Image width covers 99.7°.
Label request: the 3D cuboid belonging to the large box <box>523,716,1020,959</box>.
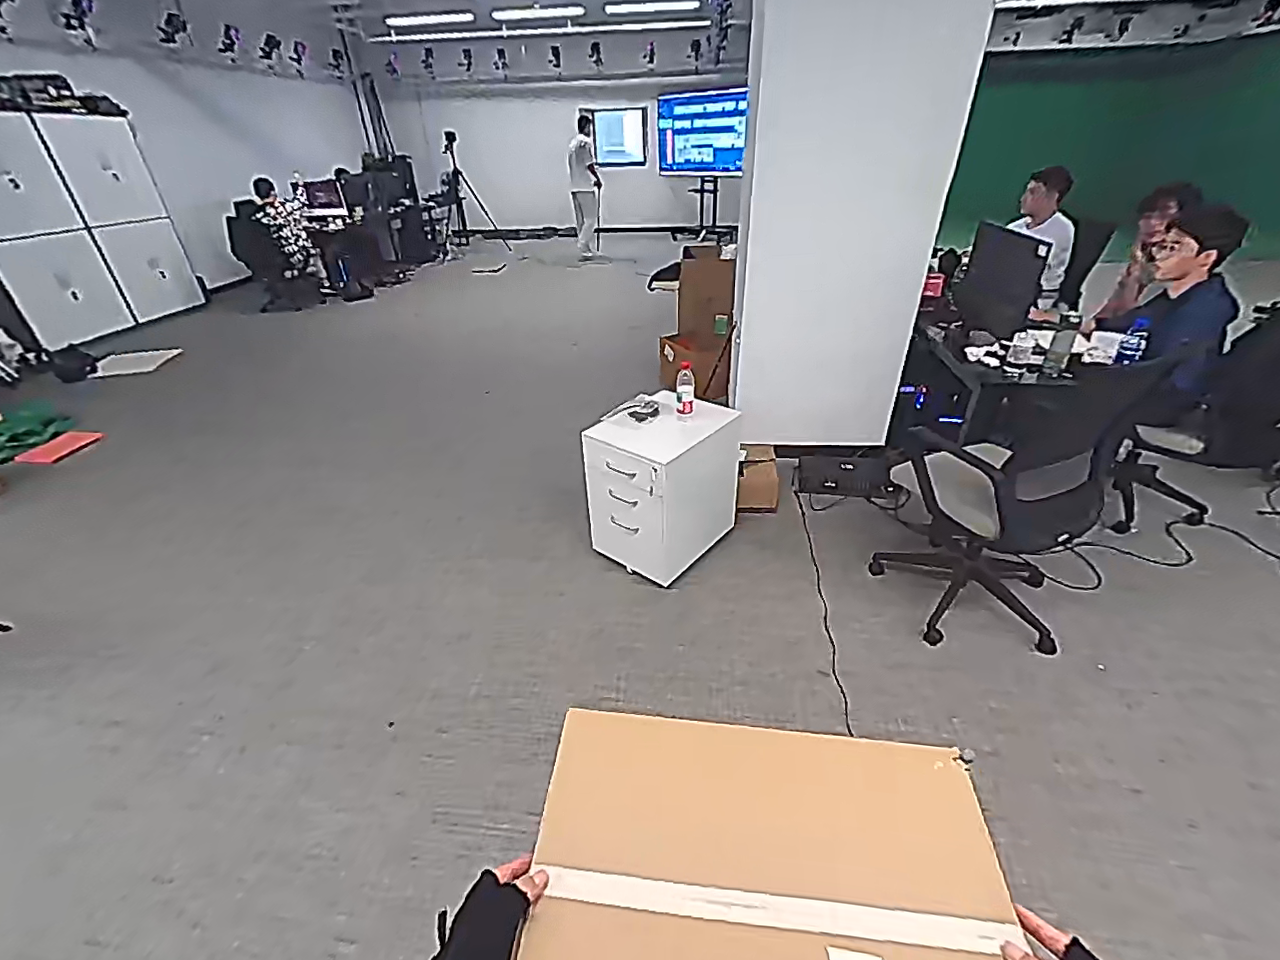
[{"bbox_3d":[0.106,0.480,0.548,0.408,0.320,0.320,4,39,5],"label":"large box"}]
